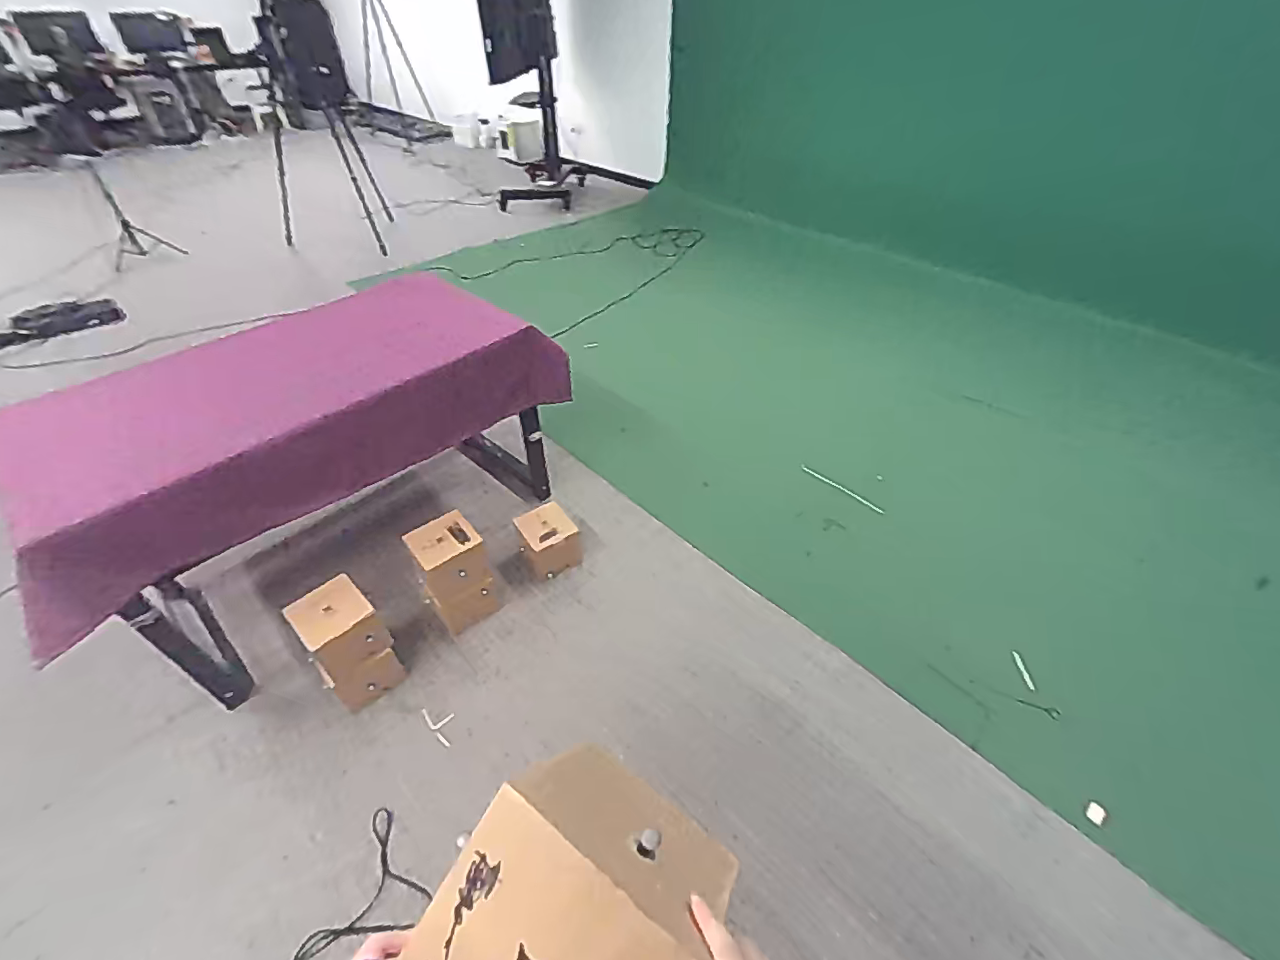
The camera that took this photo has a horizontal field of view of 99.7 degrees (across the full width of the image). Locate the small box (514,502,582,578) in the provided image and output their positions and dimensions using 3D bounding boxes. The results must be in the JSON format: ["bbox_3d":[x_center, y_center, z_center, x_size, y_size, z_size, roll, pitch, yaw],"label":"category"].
[{"bbox_3d":[-0.314,0.213,1.868,0.168,0.176,0.179,-25,48,-26],"label":"small box"}]
